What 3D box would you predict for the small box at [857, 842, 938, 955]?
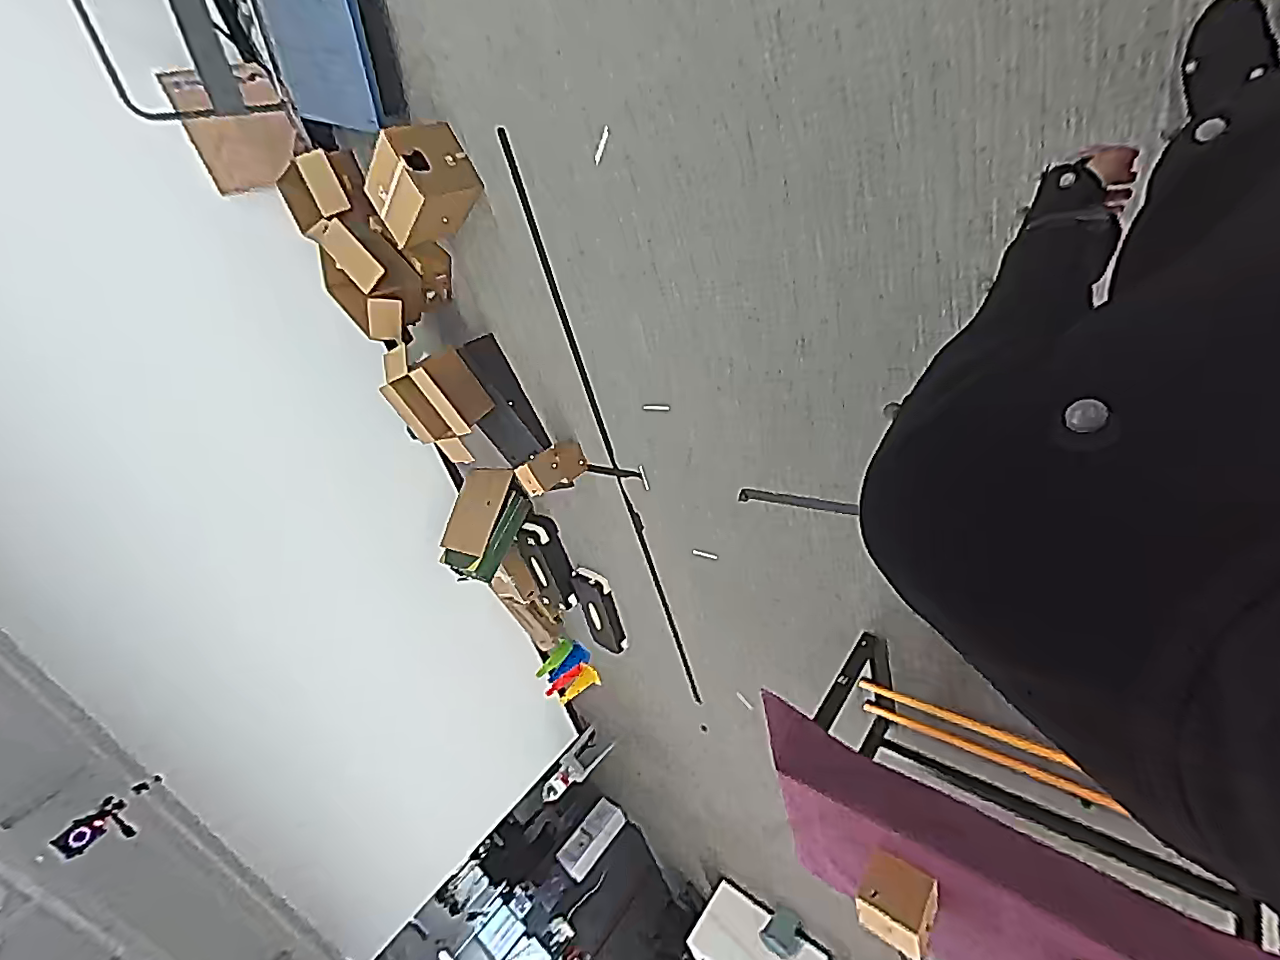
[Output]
[{"bbox_3d":[0.766,1.227,1.598,0.179,0.176,0.168,11,128,43],"label":"small box"}]
